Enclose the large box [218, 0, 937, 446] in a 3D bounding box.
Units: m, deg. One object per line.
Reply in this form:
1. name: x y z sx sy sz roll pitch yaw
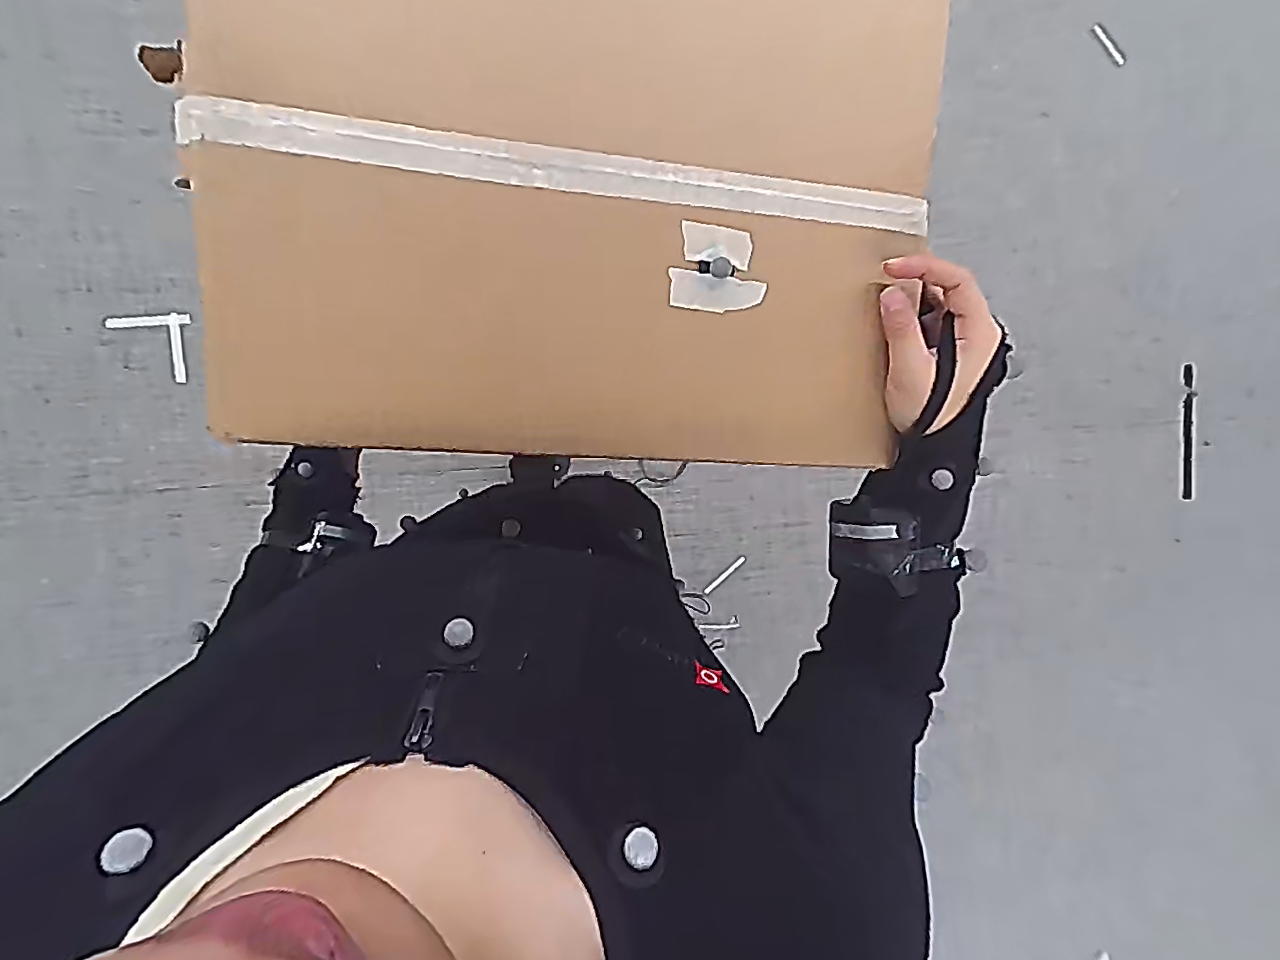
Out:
1. large box: -0.047 -0.198 0.454 0.408 0.320 0.320 2 98 -12
